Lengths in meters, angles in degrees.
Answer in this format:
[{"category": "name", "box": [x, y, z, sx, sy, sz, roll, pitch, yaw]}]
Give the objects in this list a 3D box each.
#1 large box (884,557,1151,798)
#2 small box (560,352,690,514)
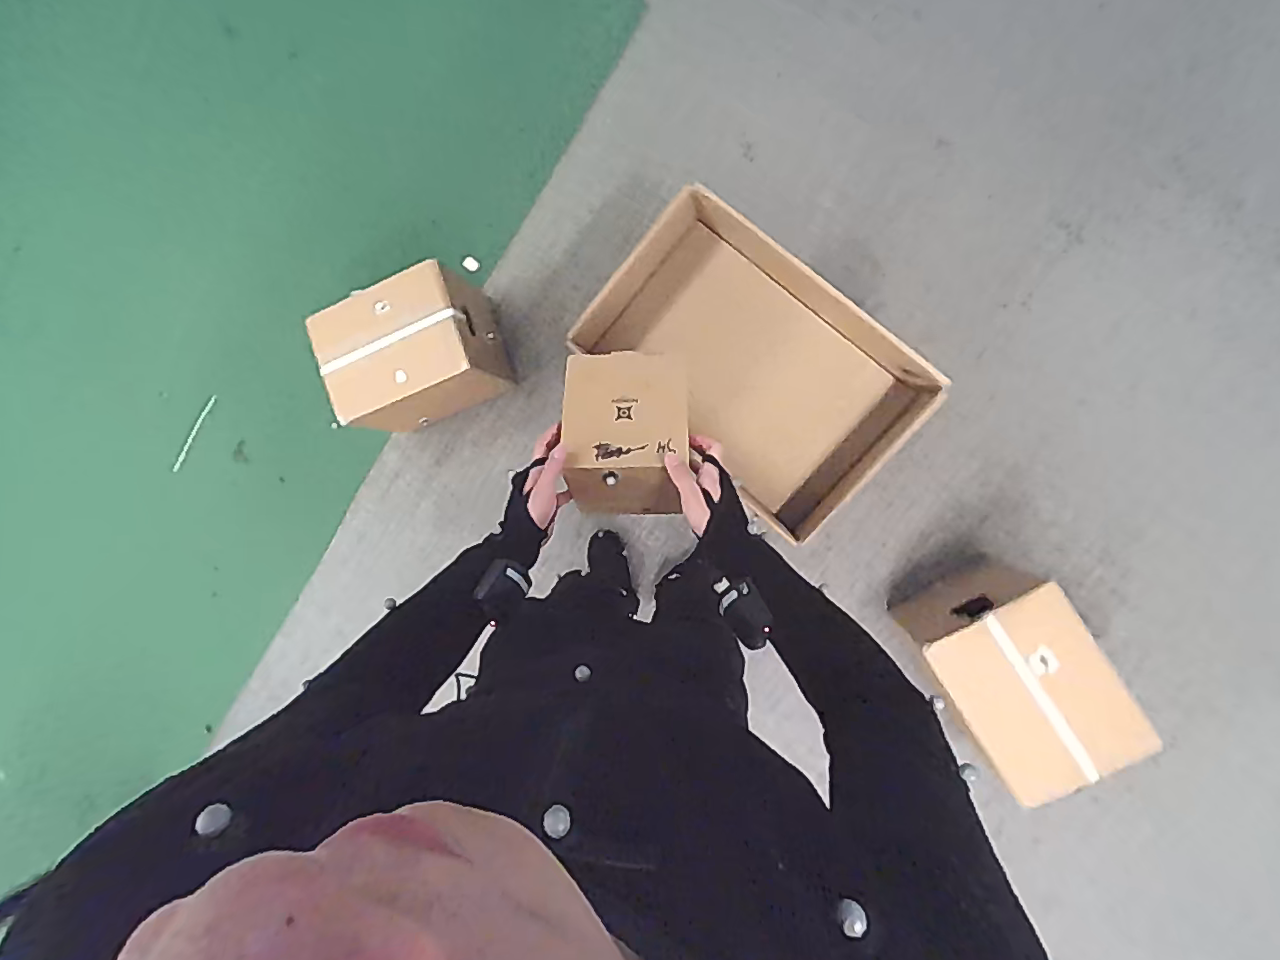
[{"category": "large box", "box": [0.874, 0.454, 1.321, 0.320, 0.320, 0.408, -32, 85, 9]}, {"category": "small box", "box": [-0.015, -0.062, 0.777, 0.168, 0.176, 0.179, -1, 66, 3]}]
